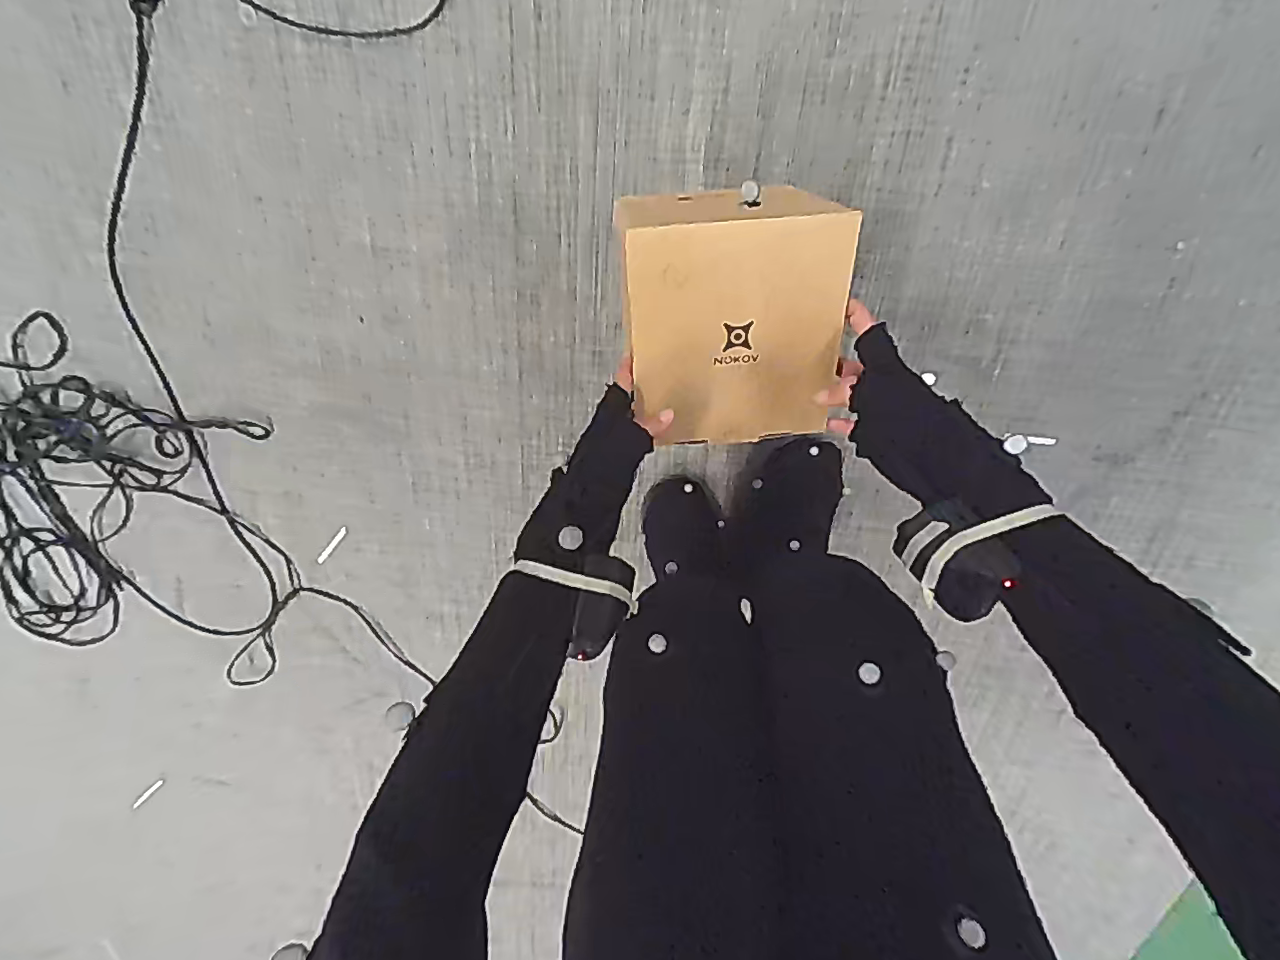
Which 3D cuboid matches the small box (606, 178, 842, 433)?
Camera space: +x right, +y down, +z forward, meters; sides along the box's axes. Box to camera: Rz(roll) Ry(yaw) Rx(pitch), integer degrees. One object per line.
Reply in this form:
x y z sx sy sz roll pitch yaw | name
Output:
0.060 -0.164 0.486 0.168 0.176 0.179 -6 126 -1 | small box
